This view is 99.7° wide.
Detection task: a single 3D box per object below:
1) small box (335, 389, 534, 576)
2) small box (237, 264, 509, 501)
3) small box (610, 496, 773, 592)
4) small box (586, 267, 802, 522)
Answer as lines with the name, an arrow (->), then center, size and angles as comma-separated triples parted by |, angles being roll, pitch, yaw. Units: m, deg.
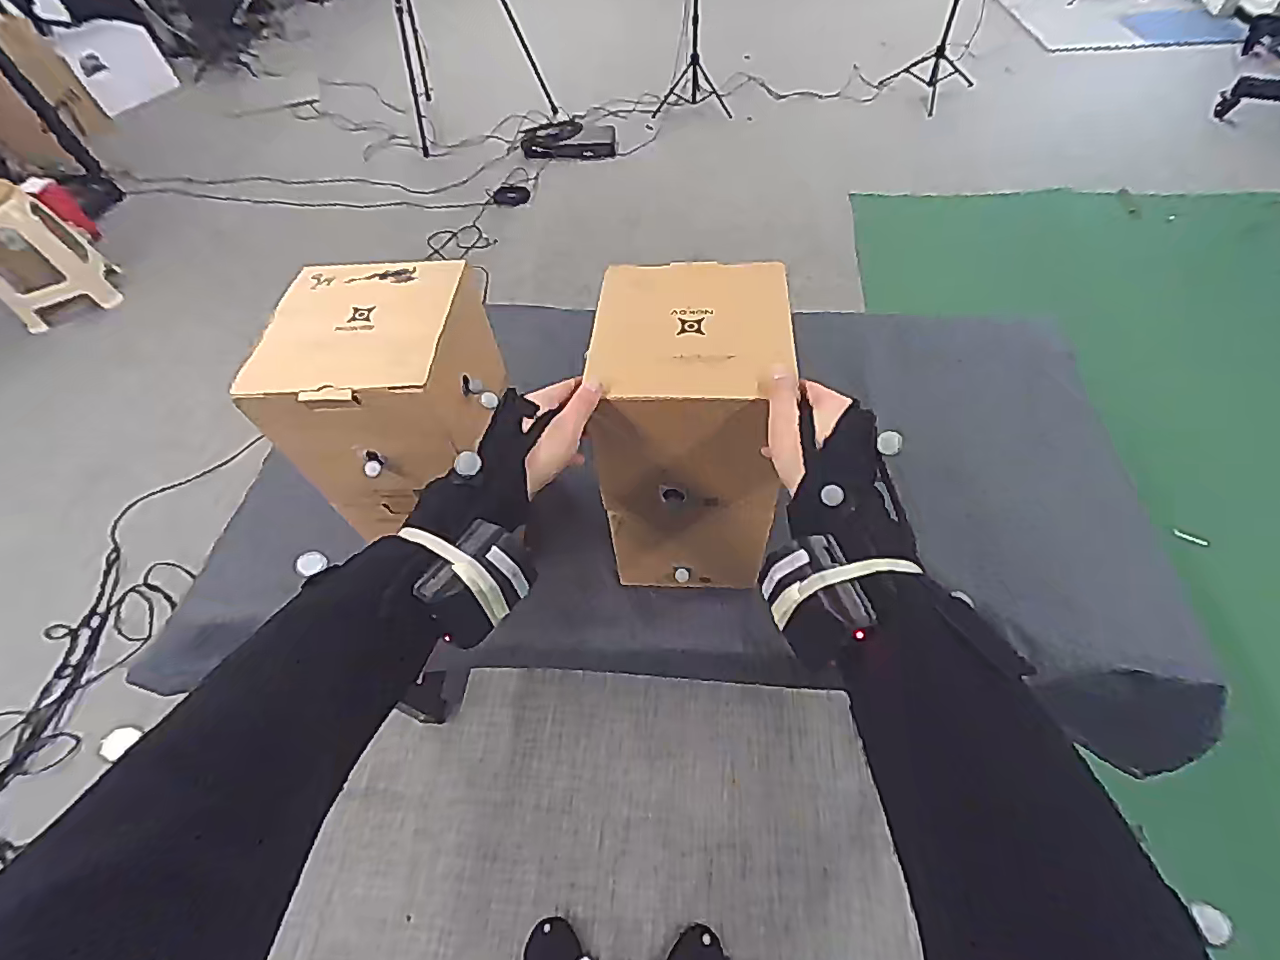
small box -> -0.237, 0.003, 0.682 | 0.168, 0.176, 0.179 | 0, 54, 3
small box -> -0.242, -0.090, 0.547 | 0.168, 0.176, 0.179 | -1, 55, 3
small box -> 0.060, 0.016, 0.648 | 0.168, 0.176, 0.179 | 1, 54, 5
small box -> 0.051, -0.080, 0.517 | 0.168, 0.176, 0.179 | 1, 54, 6
